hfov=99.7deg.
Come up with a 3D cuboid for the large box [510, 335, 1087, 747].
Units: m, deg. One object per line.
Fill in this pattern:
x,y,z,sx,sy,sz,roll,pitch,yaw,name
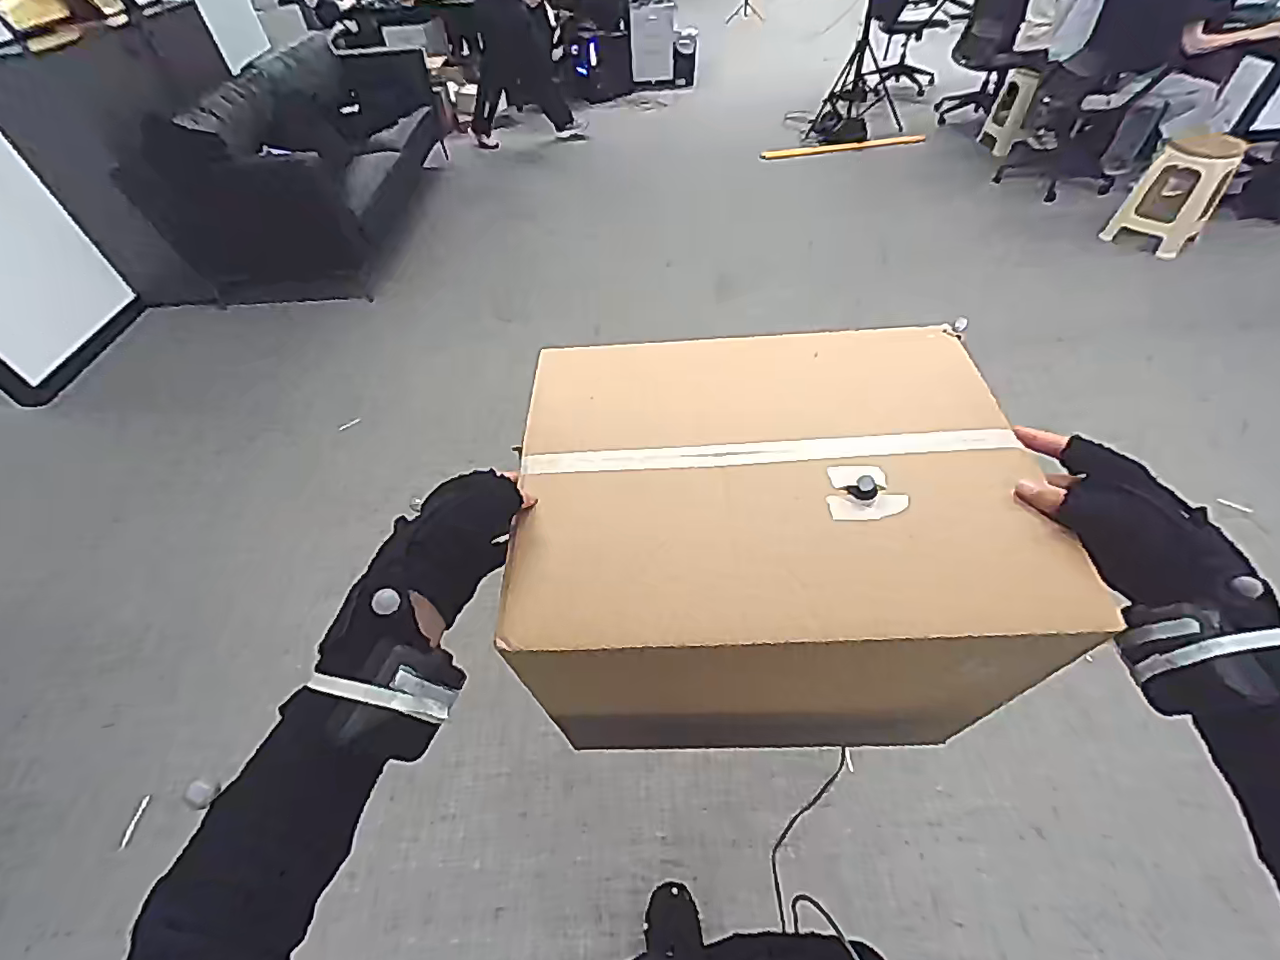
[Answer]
0.111,0.077,0.577,0.408,0.320,0.320,-3,53,3,large box
